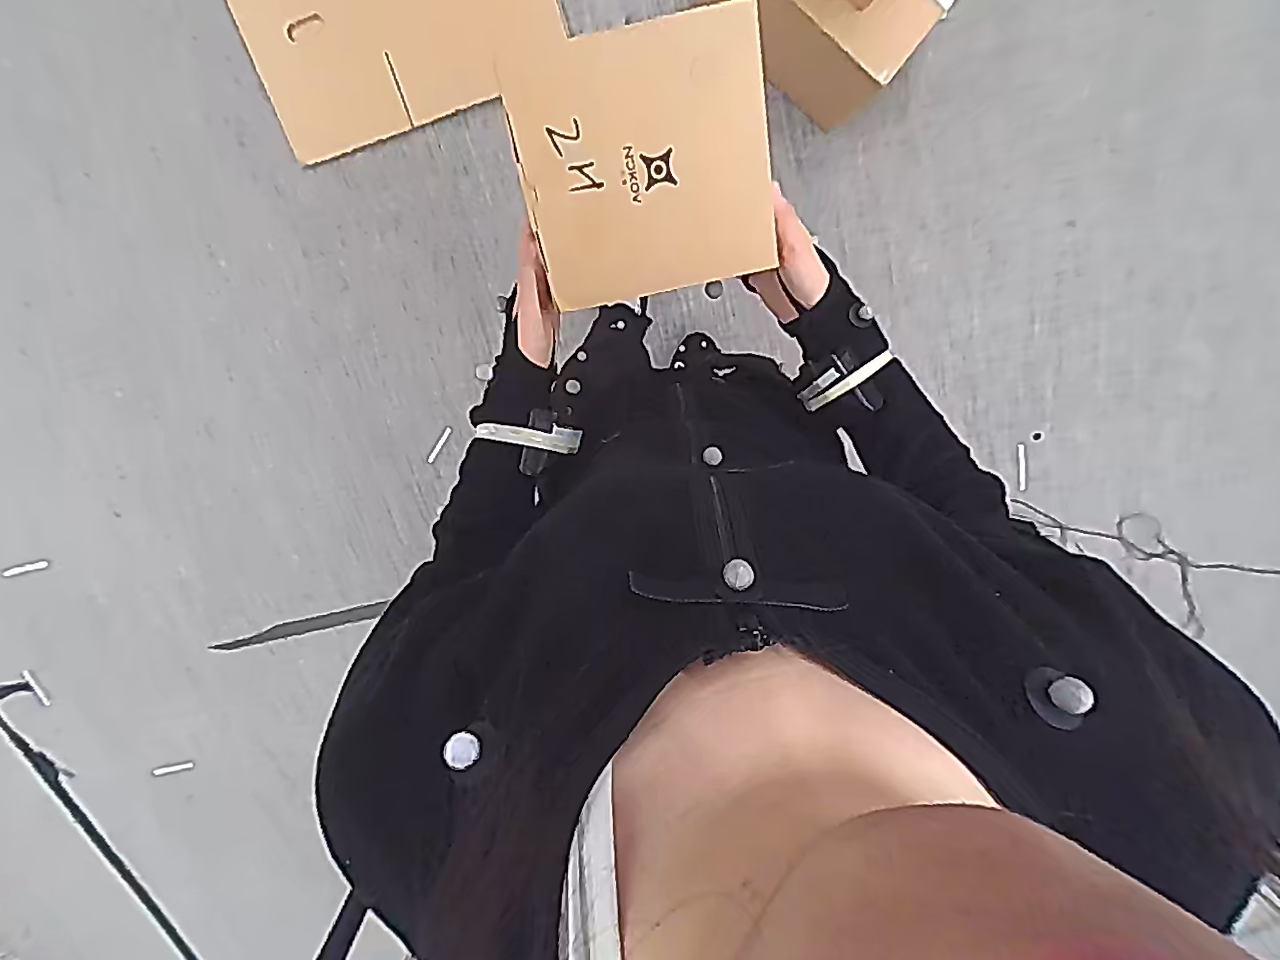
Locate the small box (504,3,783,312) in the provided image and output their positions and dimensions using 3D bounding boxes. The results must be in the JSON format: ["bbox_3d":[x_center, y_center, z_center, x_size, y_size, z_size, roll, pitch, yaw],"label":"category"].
[{"bbox_3d":[0.005,-0.250,0.450,0.179,0.176,0.168,-11,114,2],"label":"small box"}]
